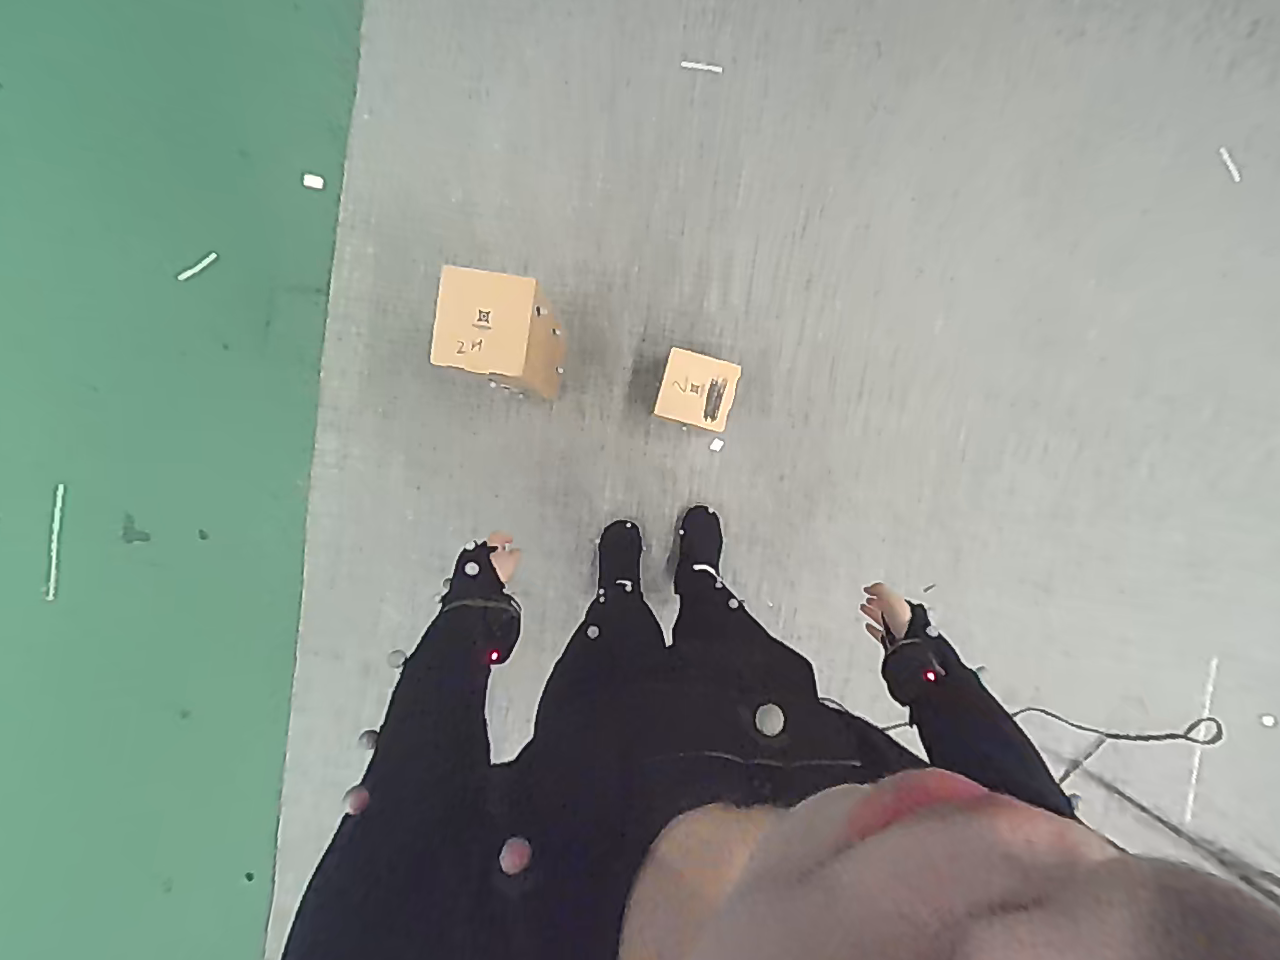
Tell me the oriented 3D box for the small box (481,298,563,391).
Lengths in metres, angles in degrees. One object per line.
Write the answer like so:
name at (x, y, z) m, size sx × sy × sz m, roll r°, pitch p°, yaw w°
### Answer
small box at (-0.268, -0.298, 1.173) m, size 0.168 × 0.176 × 0.179 m, roll 9°, pitch 94°, yaw 0°

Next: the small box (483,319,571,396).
small box at (-0.271, -0.310, 1.335) m, size 0.168 × 0.176 × 0.179 m, roll 12°, pitch 94°, yaw -1°

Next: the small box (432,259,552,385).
small box at (-0.266, -0.285, 1.008) m, size 0.168 × 0.176 × 0.179 m, roll 9°, pitch 93°, yaw 1°
